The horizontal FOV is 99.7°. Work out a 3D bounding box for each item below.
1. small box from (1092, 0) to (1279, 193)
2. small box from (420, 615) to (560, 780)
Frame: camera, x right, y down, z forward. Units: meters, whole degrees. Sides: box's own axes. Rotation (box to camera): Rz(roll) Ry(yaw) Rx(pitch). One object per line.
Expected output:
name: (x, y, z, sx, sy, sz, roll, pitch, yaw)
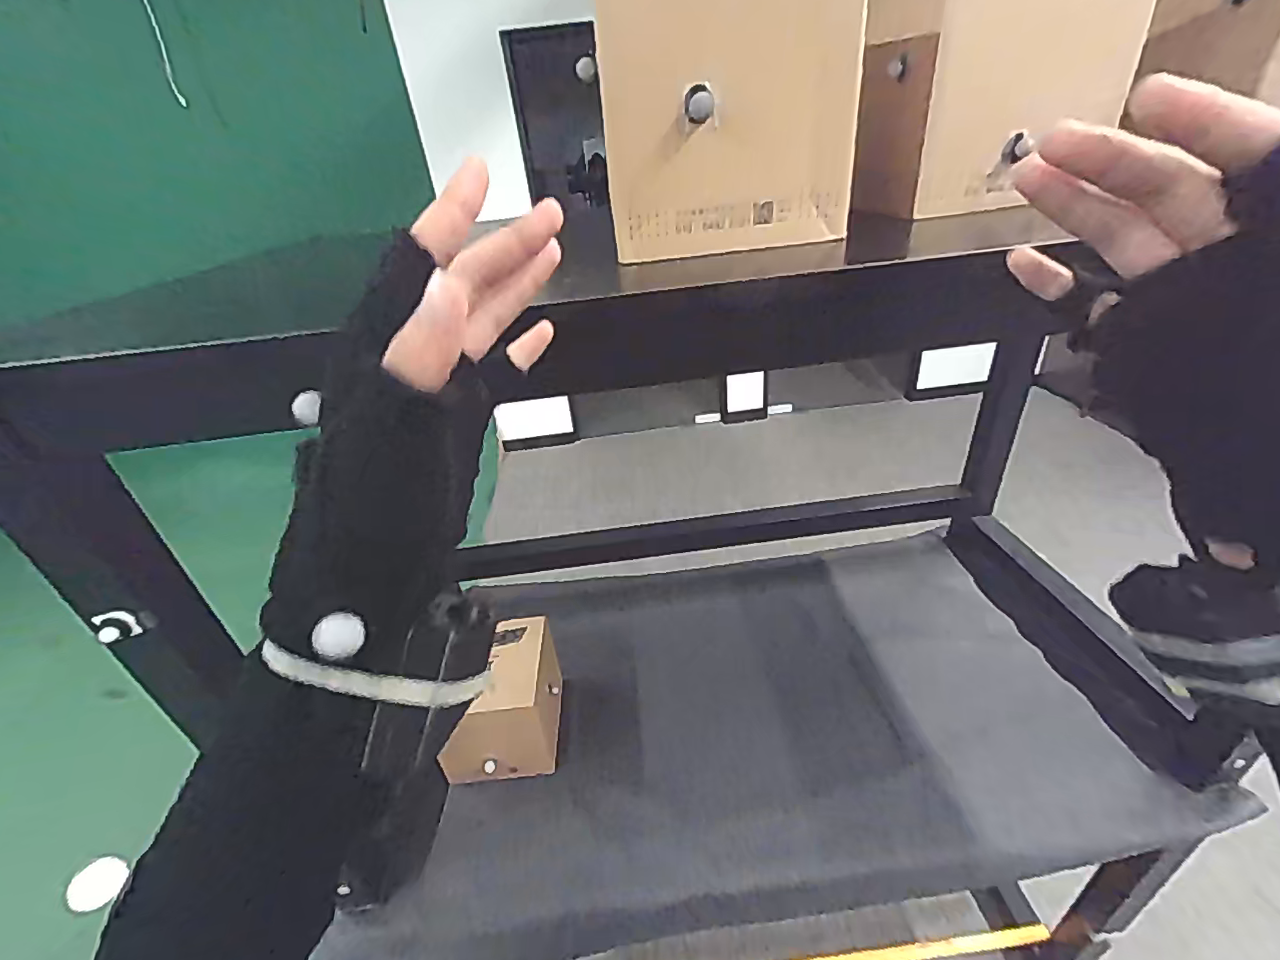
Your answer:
small box: (0.523, -0.334, 0.435, 0.168, 0.176, 0.179, -1, 32, 9)
small box: (-0.226, 0.345, 0.868, 0.168, 0.176, 0.179, -6, 32, 0)
